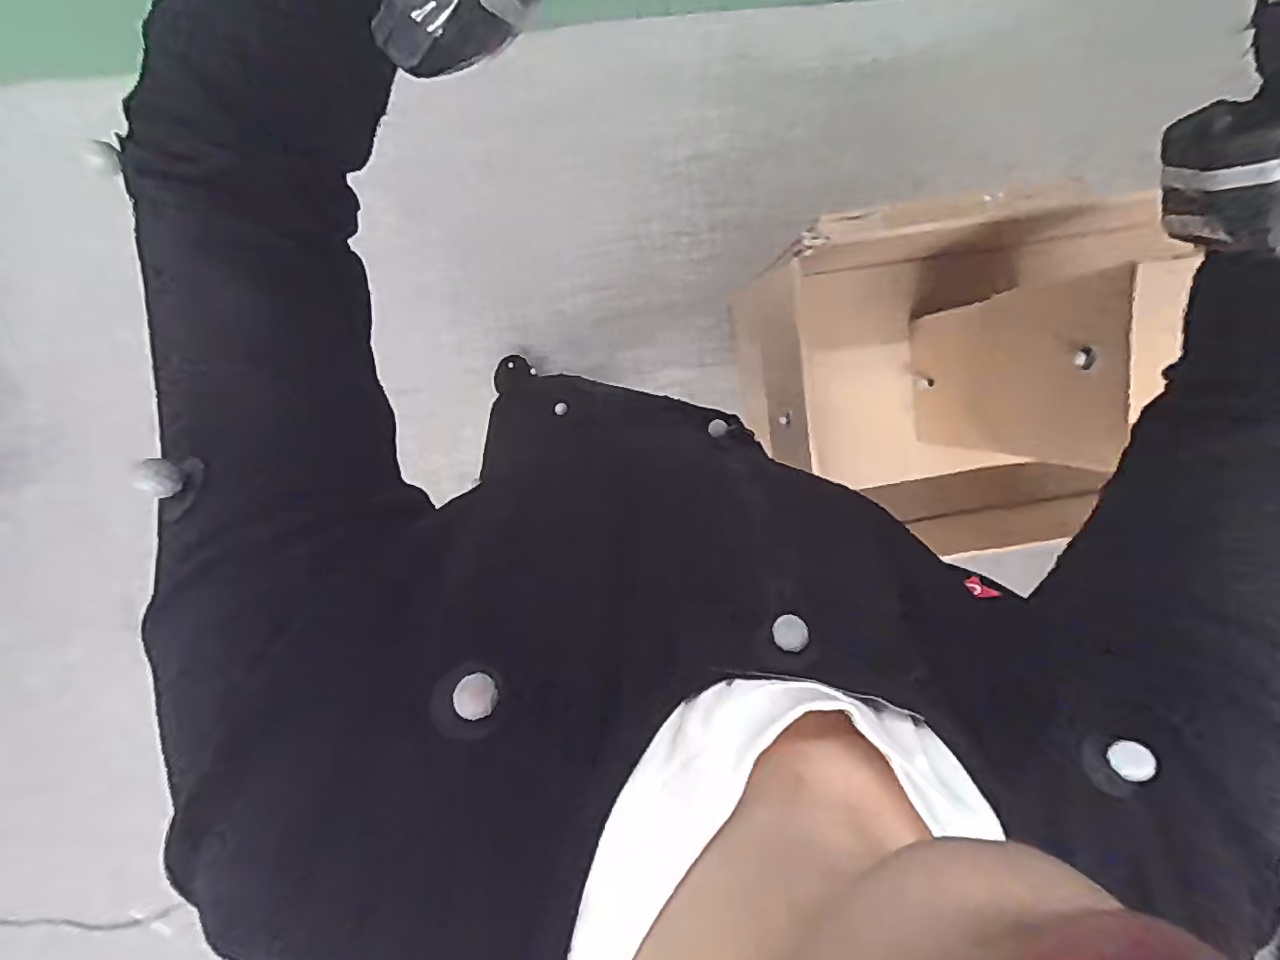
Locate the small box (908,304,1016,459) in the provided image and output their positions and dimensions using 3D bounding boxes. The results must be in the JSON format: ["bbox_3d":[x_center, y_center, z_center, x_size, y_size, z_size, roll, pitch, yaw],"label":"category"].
[{"bbox_3d":[0.467,-0.133,0.692,0.168,0.176,0.179,-9,100,-3],"label":"small box"}]

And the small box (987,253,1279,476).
[{"bbox_3d":[0.474,-0.107,0.530,0.168,0.176,0.179,-6,100,-3],"label":"small box"}]
